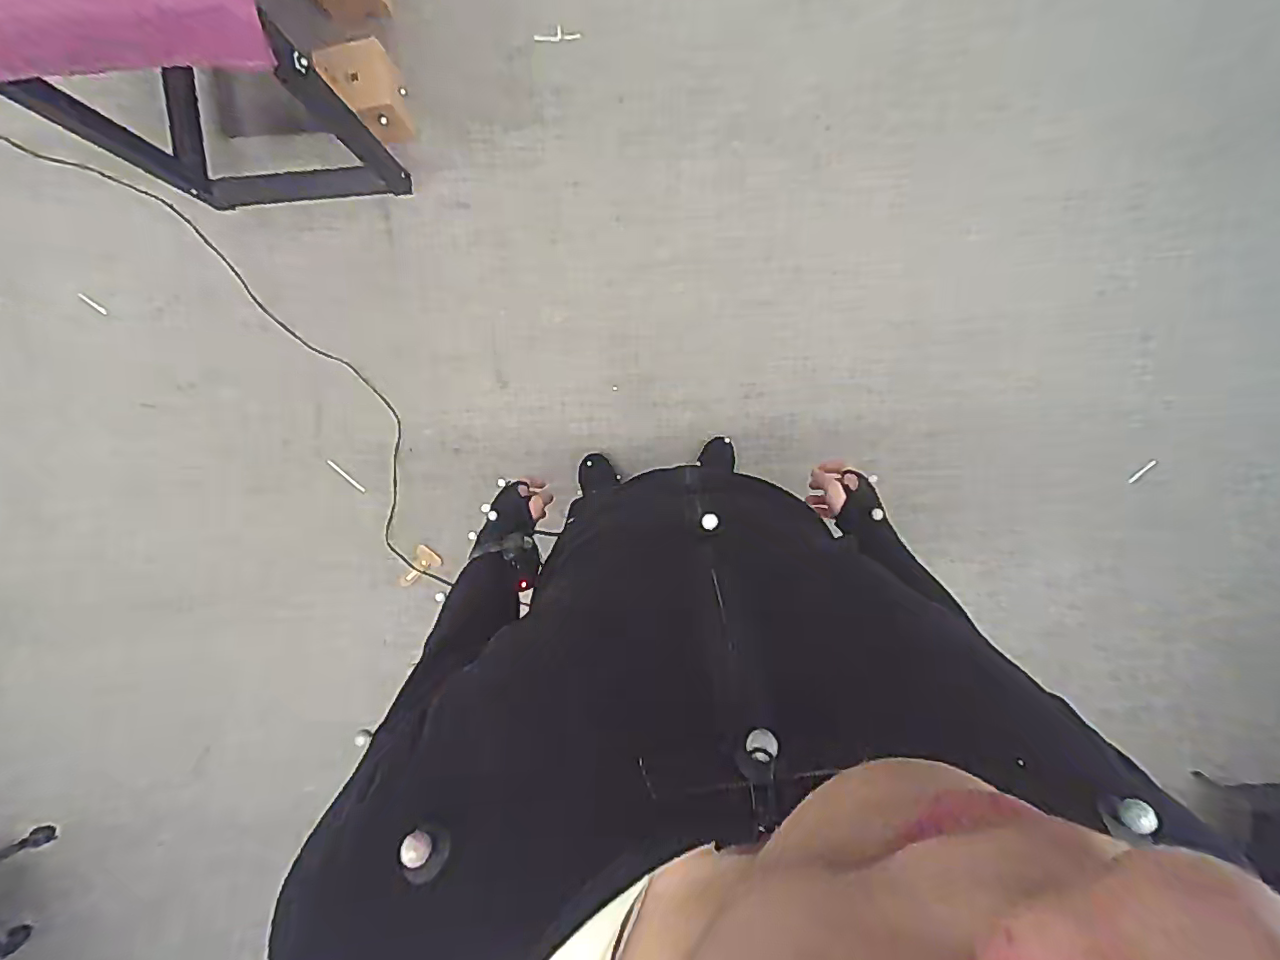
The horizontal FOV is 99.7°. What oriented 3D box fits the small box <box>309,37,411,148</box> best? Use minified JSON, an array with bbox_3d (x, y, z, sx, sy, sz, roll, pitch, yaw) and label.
[{"bbox_3d":[-0.734,-1.025,1.445,0.179,0.176,0.168,-12,95,1],"label":"small box"}]
